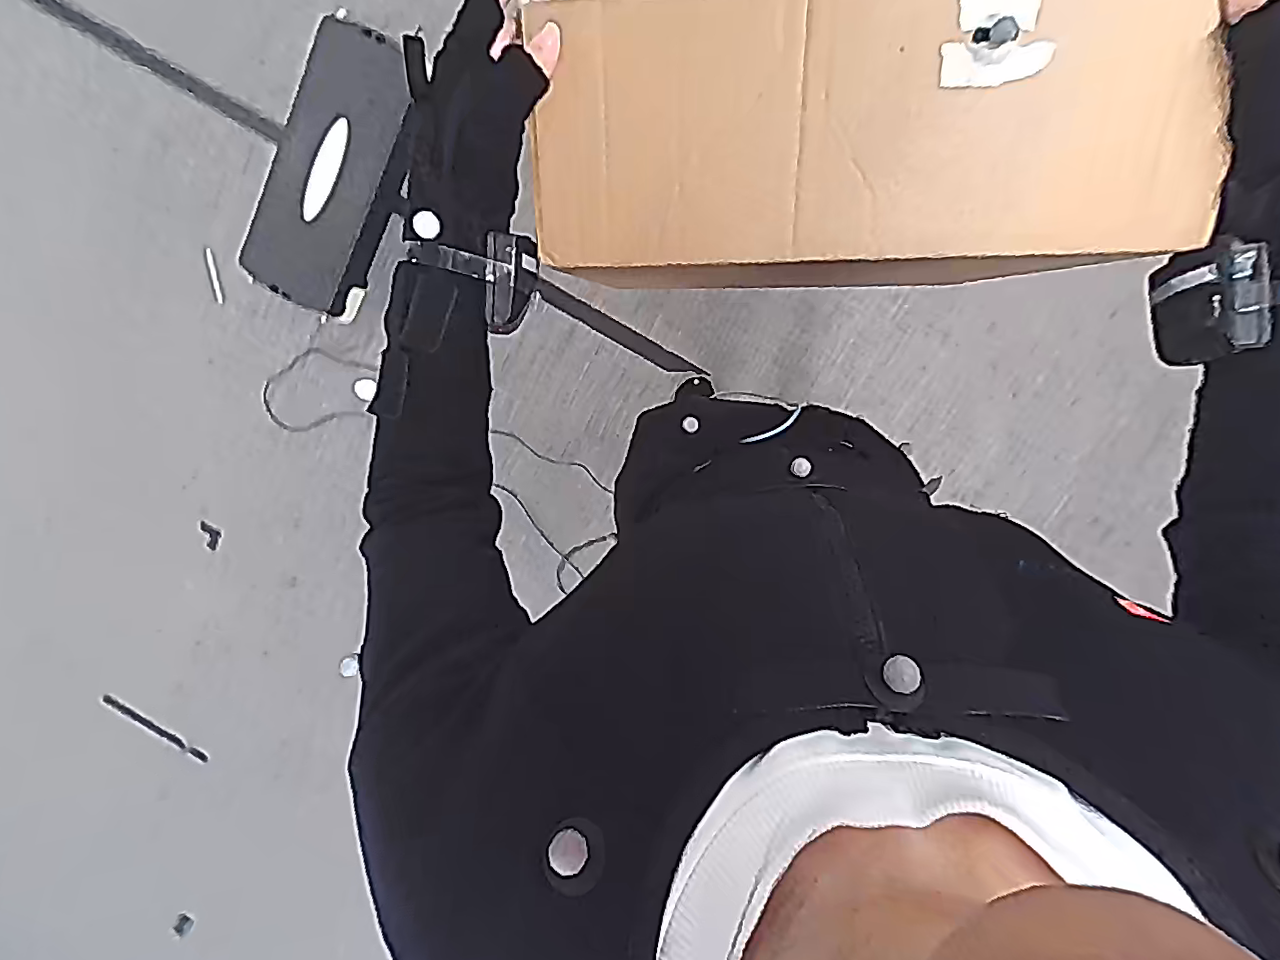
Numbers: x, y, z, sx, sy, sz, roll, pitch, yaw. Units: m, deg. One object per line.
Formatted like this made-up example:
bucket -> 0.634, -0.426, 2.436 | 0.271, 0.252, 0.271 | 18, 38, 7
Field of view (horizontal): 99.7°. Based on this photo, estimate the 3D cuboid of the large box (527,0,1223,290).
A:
large box -> 0.138, -0.341, 0.454 | 0.408, 0.320, 0.320 | 0, 107, 5
